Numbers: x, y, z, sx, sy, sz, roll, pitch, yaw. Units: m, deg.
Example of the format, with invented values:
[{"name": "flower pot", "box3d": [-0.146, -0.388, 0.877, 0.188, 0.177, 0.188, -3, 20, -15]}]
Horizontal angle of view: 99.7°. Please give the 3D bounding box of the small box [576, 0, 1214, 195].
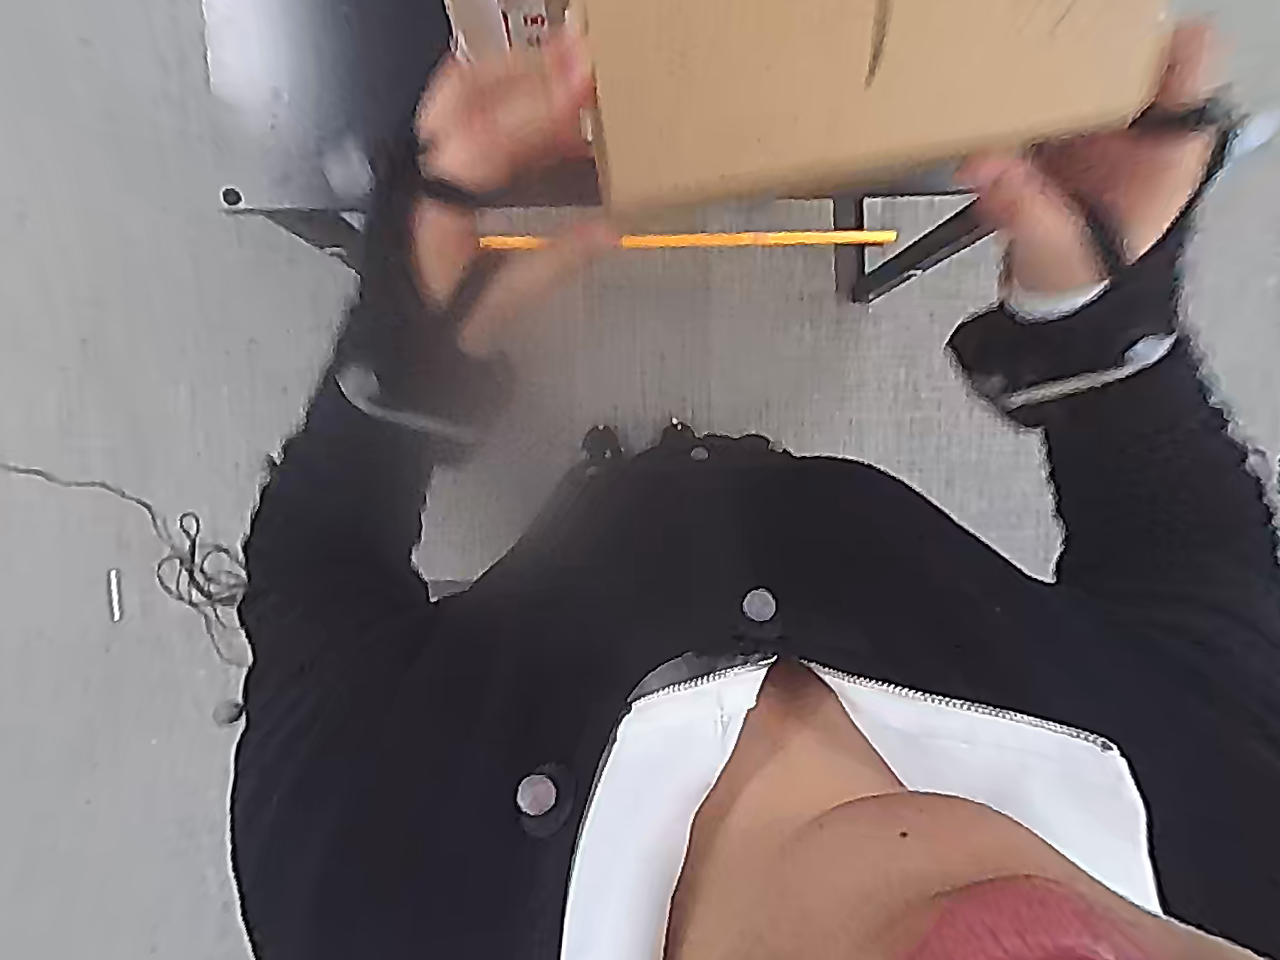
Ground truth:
[{"name": "small box", "box3d": [0.056, -0.214, 0.188, 0.168, 0.176, 0.179, -9, 114, 0]}]
